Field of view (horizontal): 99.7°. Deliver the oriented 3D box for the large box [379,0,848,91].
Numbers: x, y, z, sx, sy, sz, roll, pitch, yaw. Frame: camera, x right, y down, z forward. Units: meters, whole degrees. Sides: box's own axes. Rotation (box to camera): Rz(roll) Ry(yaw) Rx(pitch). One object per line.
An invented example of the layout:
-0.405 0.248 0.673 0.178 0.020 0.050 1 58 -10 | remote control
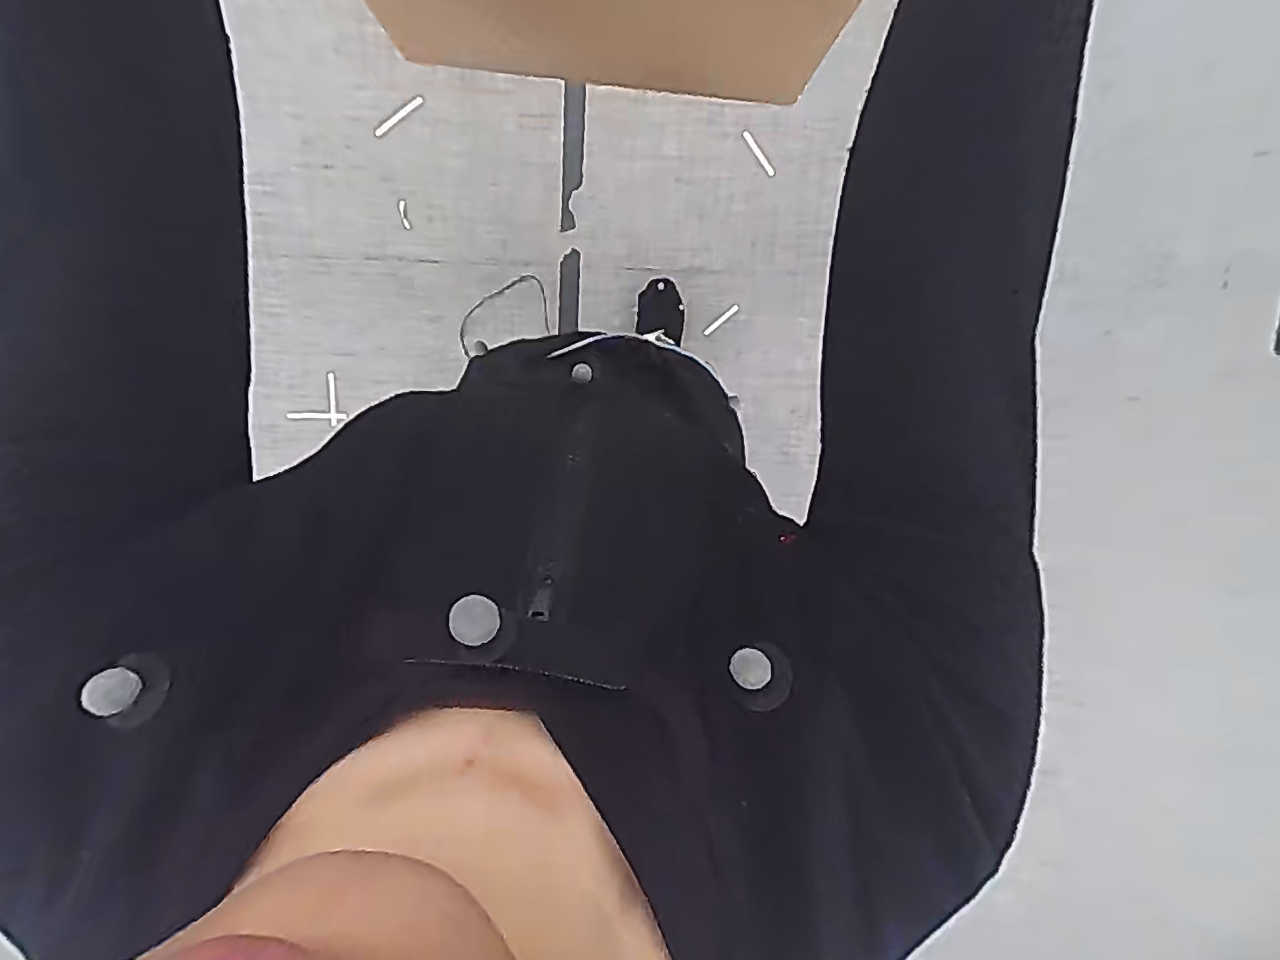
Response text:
-0.020 -0.537 0.390 0.408 0.320 0.320 4 103 -3 | large box
